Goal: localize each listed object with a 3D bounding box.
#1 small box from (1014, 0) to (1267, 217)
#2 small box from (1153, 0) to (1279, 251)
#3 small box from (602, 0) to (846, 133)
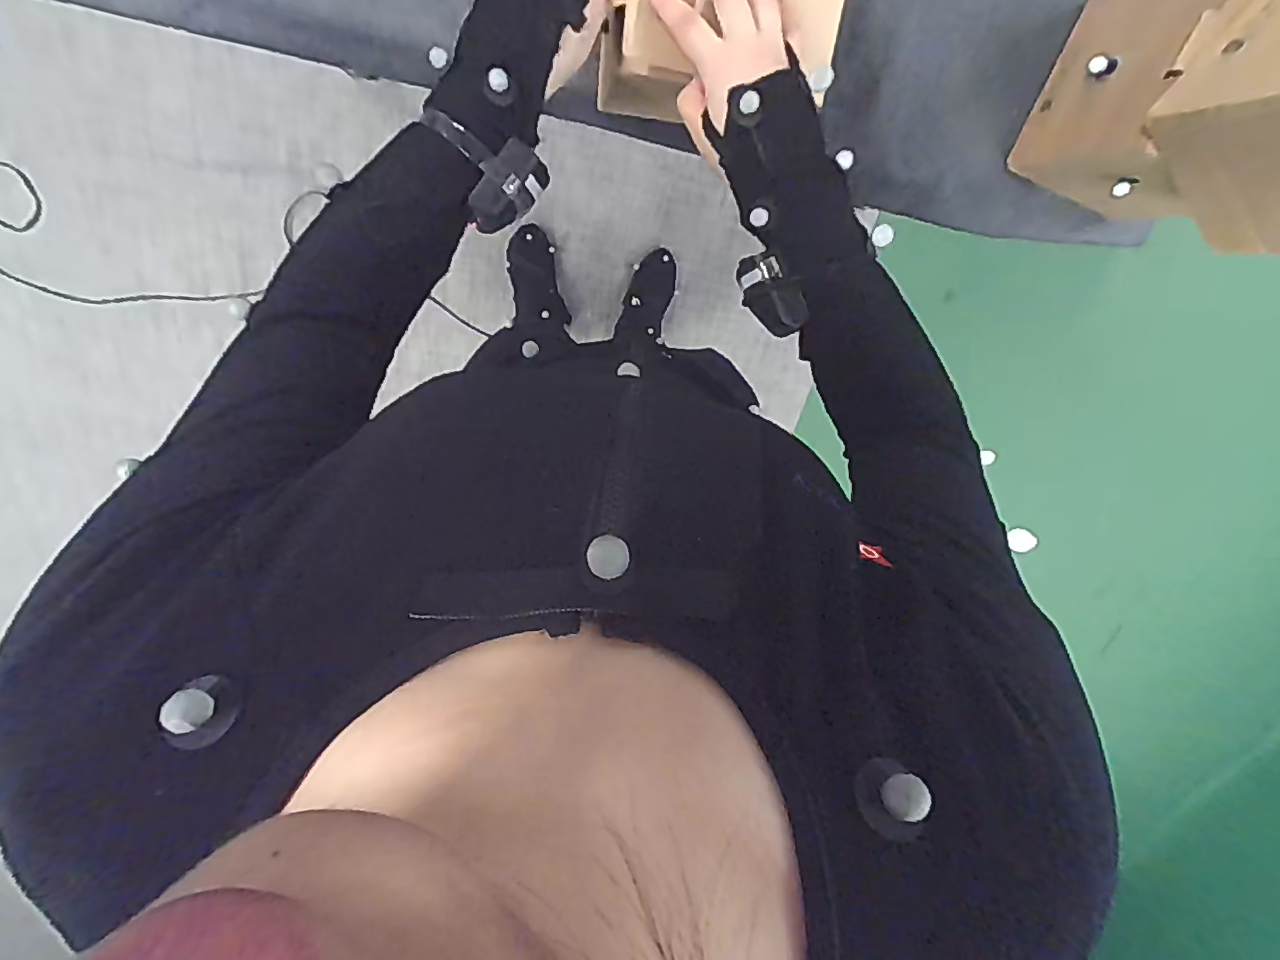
[{"bbox_3d":[0.540,-0.377,0.548,0.179,0.176,0.168,14,113,-14],"label":"small box"},{"bbox_3d":[0.561,-0.291,0.410,0.179,0.176,0.168,34,106,-22],"label":"small box"},{"bbox_3d":[0.062,-0.413,0.465,0.179,0.176,0.168,2,116,-10],"label":"small box"}]
